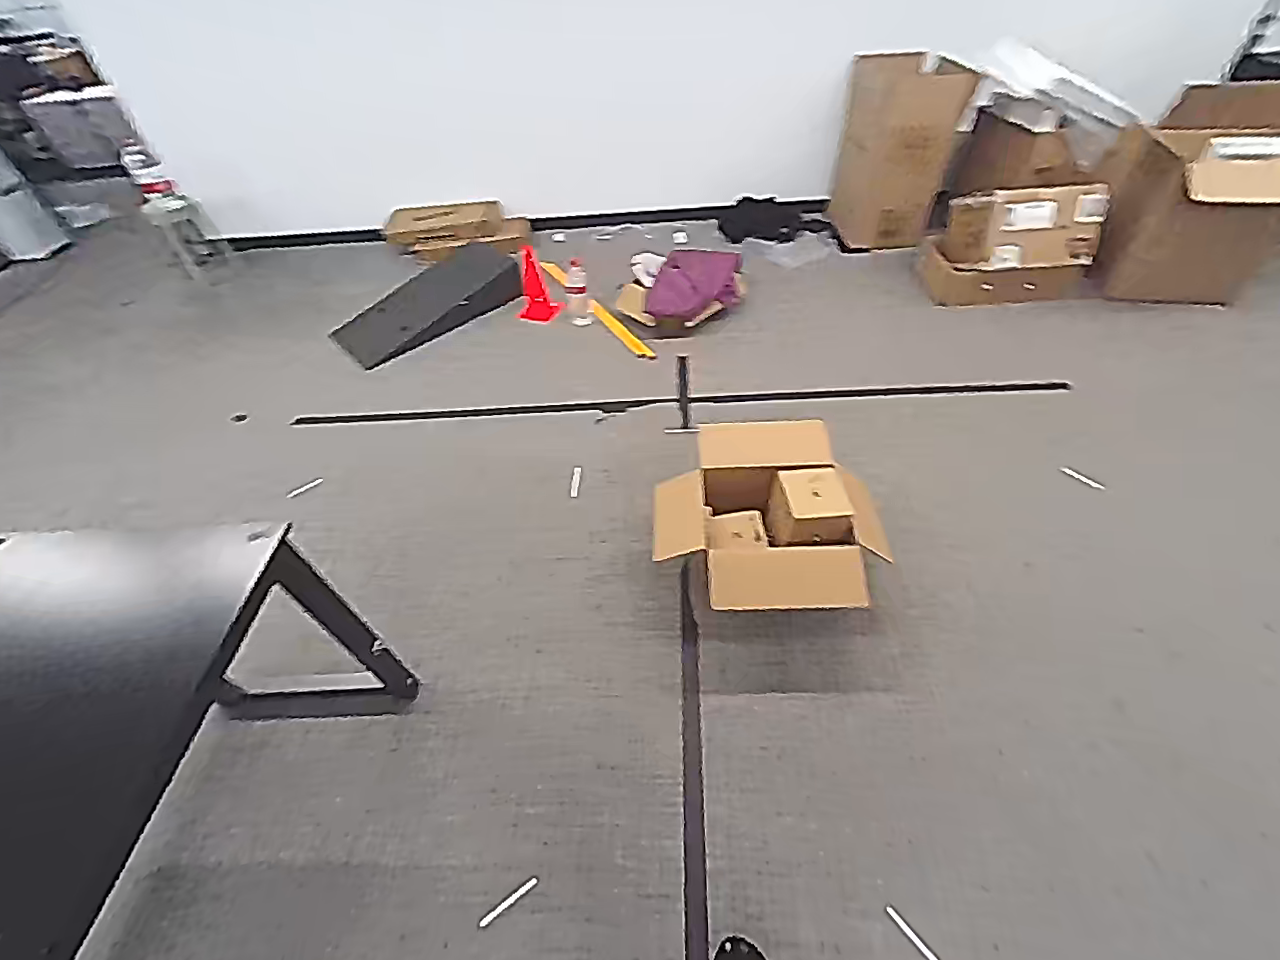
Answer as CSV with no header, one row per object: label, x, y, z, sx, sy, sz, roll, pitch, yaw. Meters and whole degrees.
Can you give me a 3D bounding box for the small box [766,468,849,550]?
small box,0.472,0.090,1.551,0.168,0.176,0.179,-4,47,-3
